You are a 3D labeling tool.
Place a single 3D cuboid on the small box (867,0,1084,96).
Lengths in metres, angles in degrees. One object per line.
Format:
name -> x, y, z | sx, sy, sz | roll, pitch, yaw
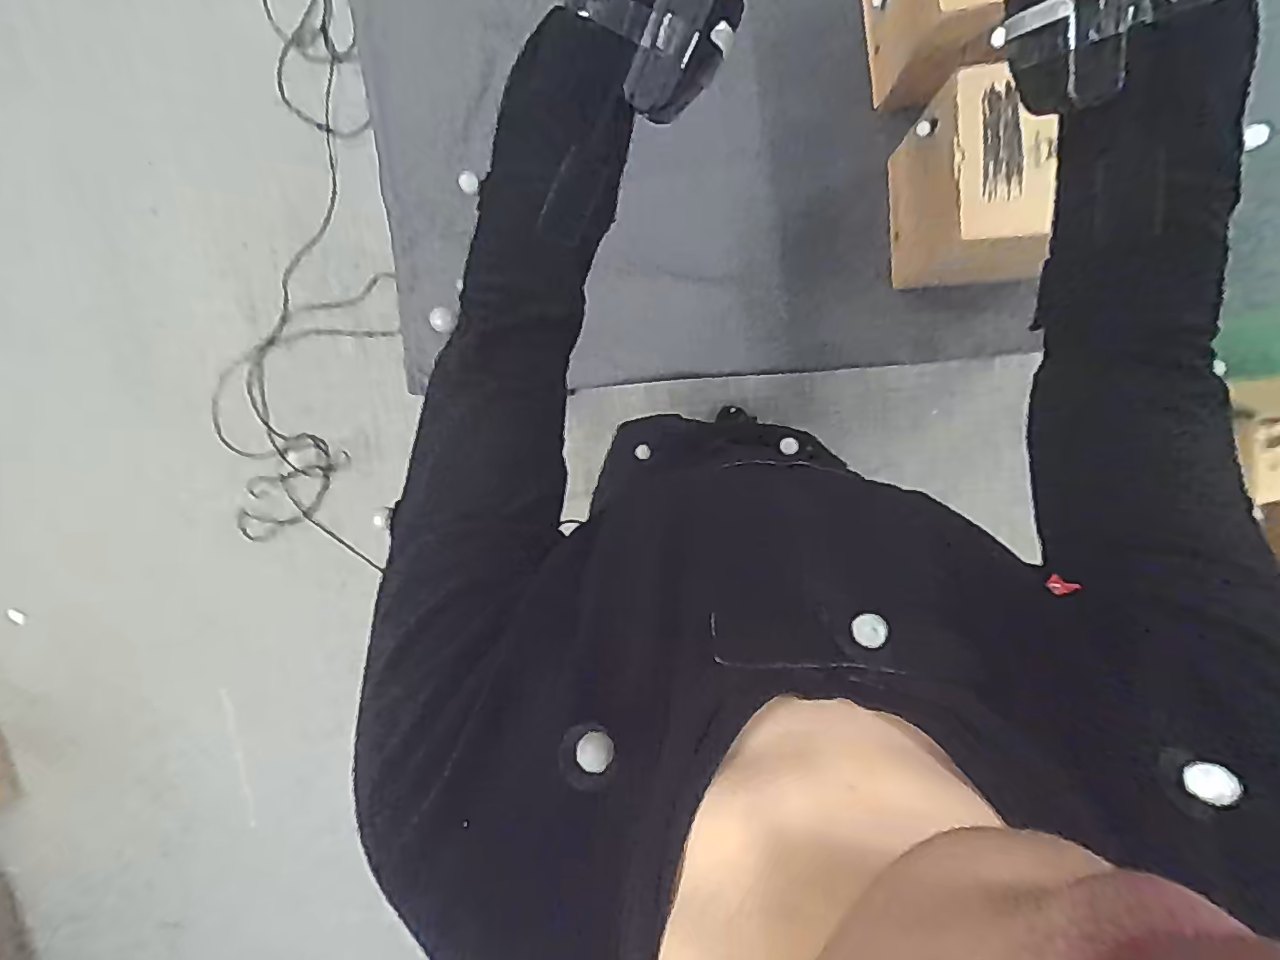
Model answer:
small box -> 0.363, -0.559, 0.580 | 0.179, 0.176, 0.168 | -9, 95, 7
